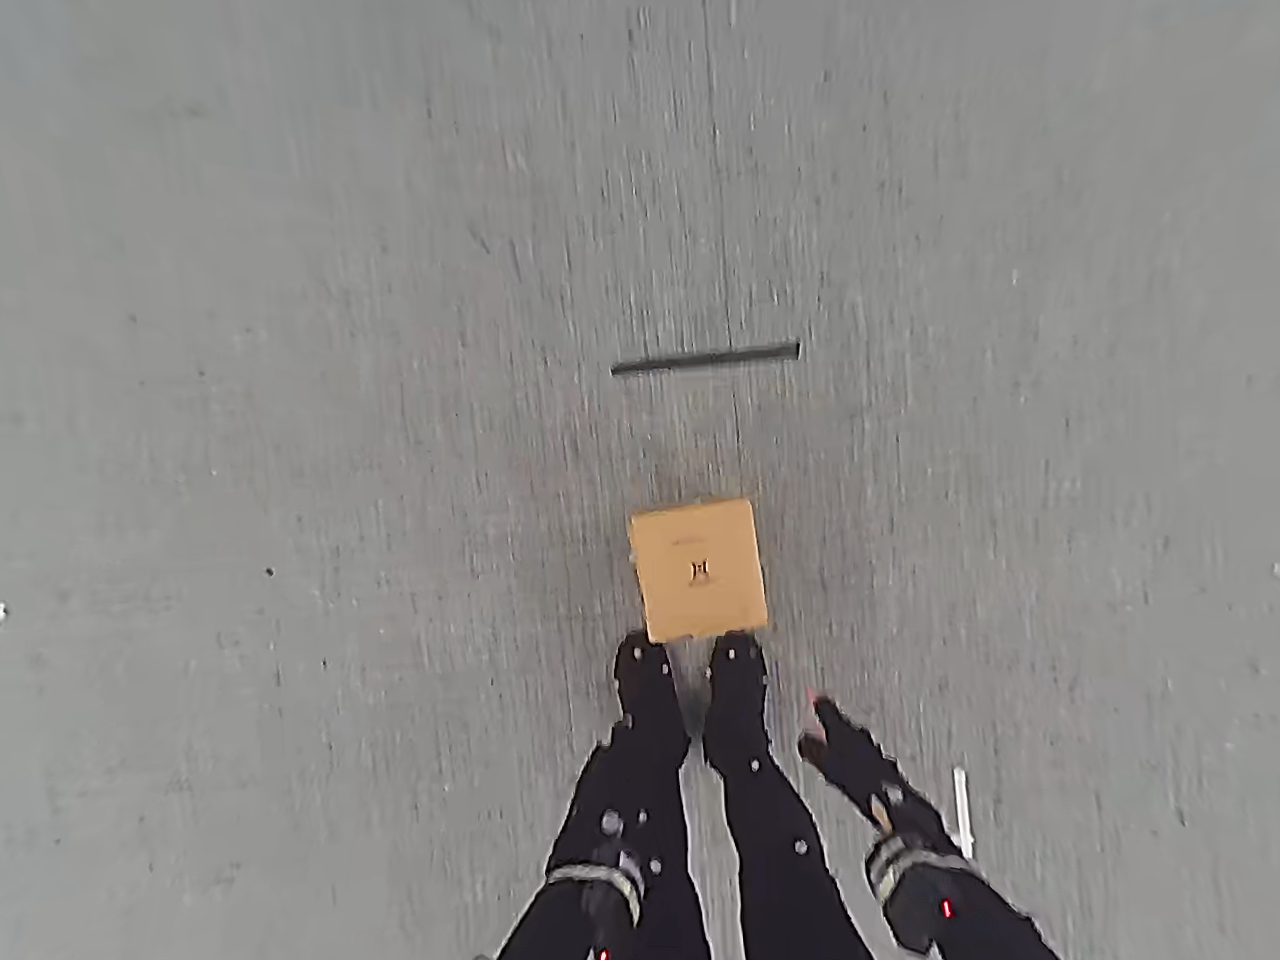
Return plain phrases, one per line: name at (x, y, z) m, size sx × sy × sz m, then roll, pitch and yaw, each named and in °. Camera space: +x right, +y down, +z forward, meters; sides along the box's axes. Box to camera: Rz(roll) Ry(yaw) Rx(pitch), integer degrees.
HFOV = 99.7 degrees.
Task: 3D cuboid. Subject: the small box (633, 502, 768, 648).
small box at (0.084, 0.132, 0.811) m, size 0.168 × 0.176 × 0.179 m, roll -9°, pitch 89°, yaw 0°
